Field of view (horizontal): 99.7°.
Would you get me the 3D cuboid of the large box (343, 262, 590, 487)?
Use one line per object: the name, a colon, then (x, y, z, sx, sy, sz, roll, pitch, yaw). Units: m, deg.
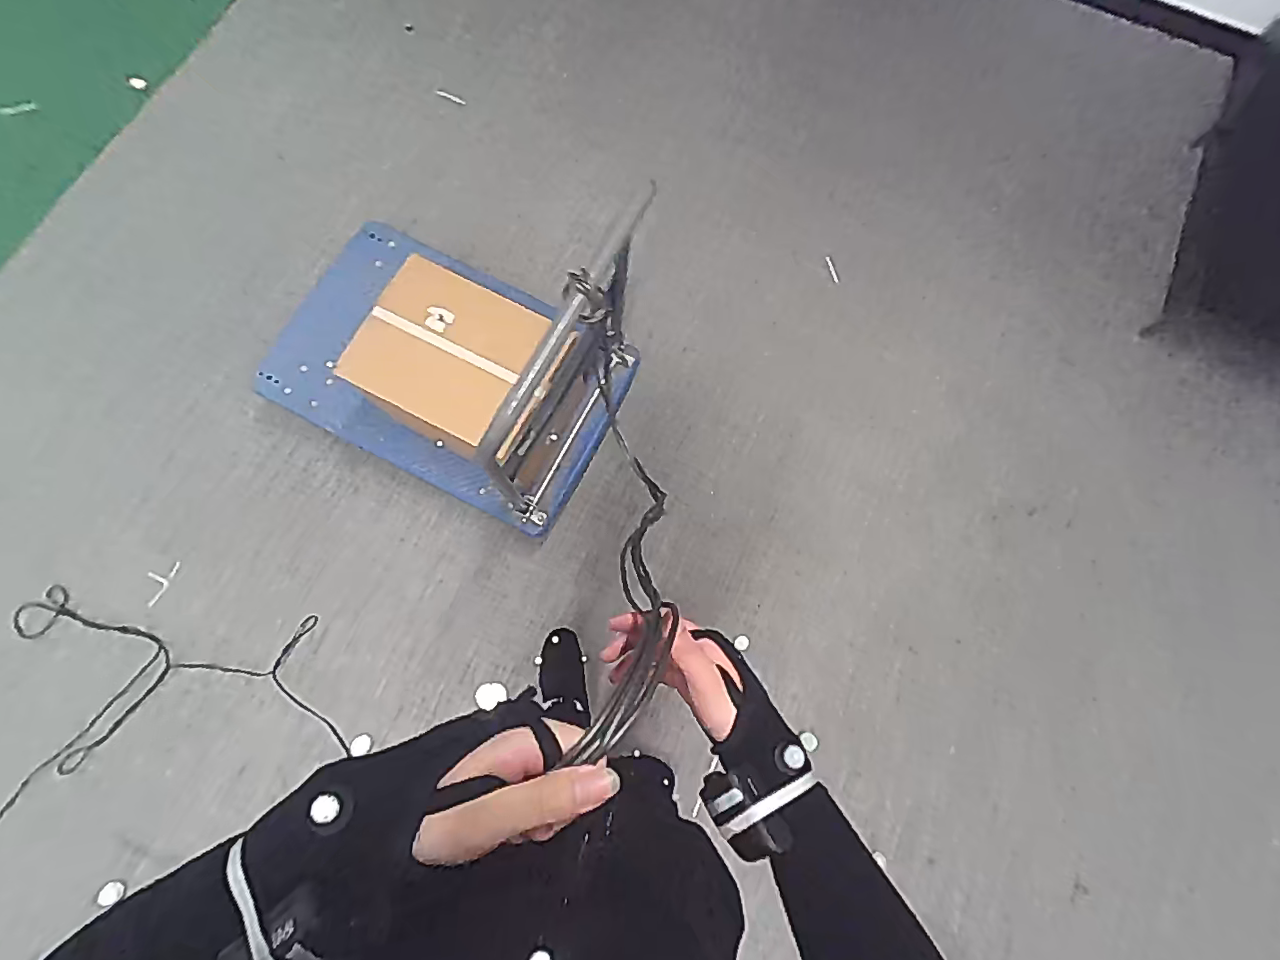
large box: (-0.369, -0.225, 1.268, 0.408, 0.320, 0.320, 27, 77, 5)
